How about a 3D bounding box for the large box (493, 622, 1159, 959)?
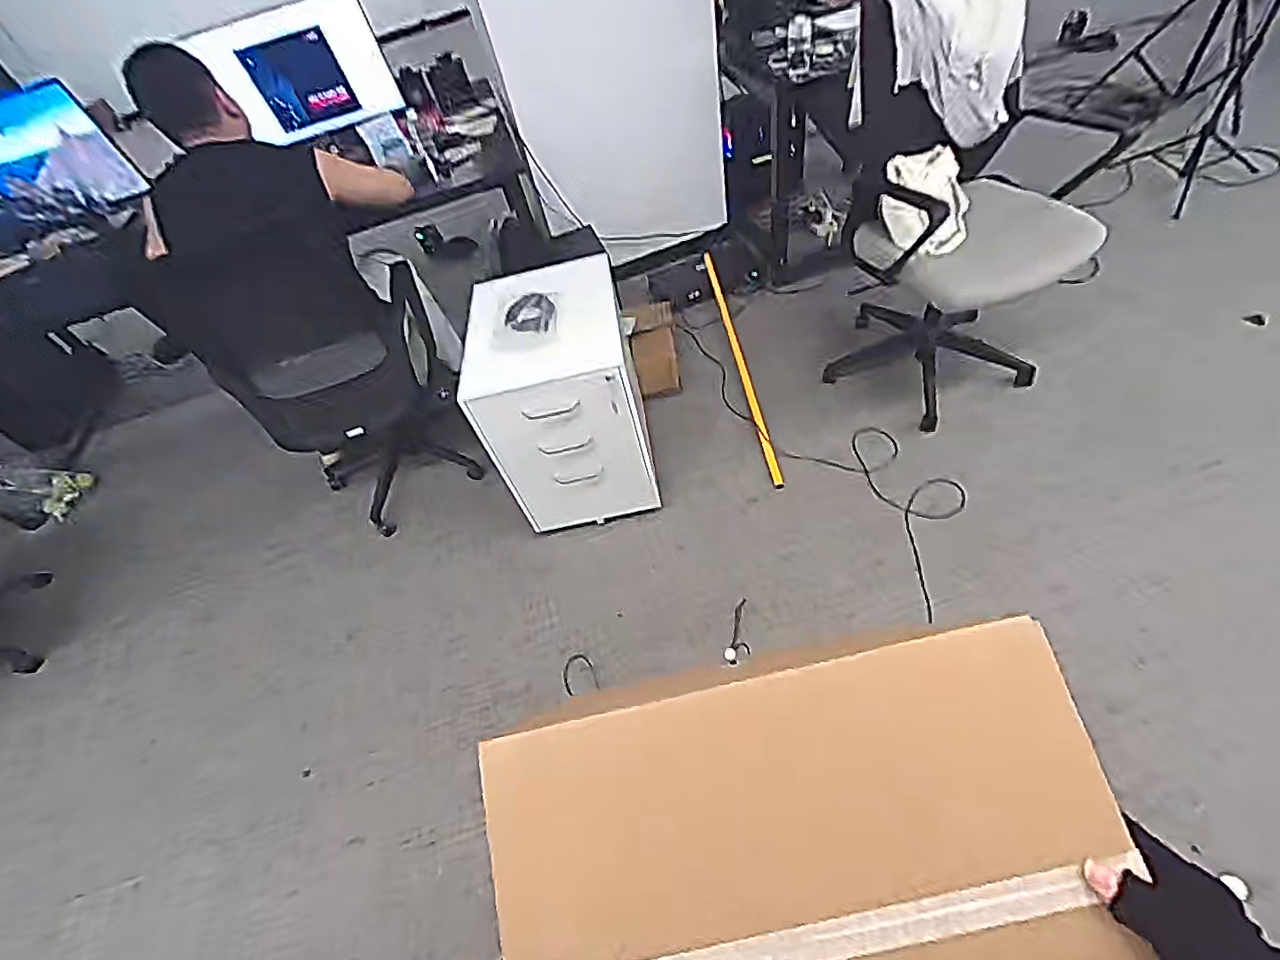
[{"bbox_3d":[0.132,0.333,0.496,0.408,0.320,0.320,-14,73,2],"label":"large box"}]
